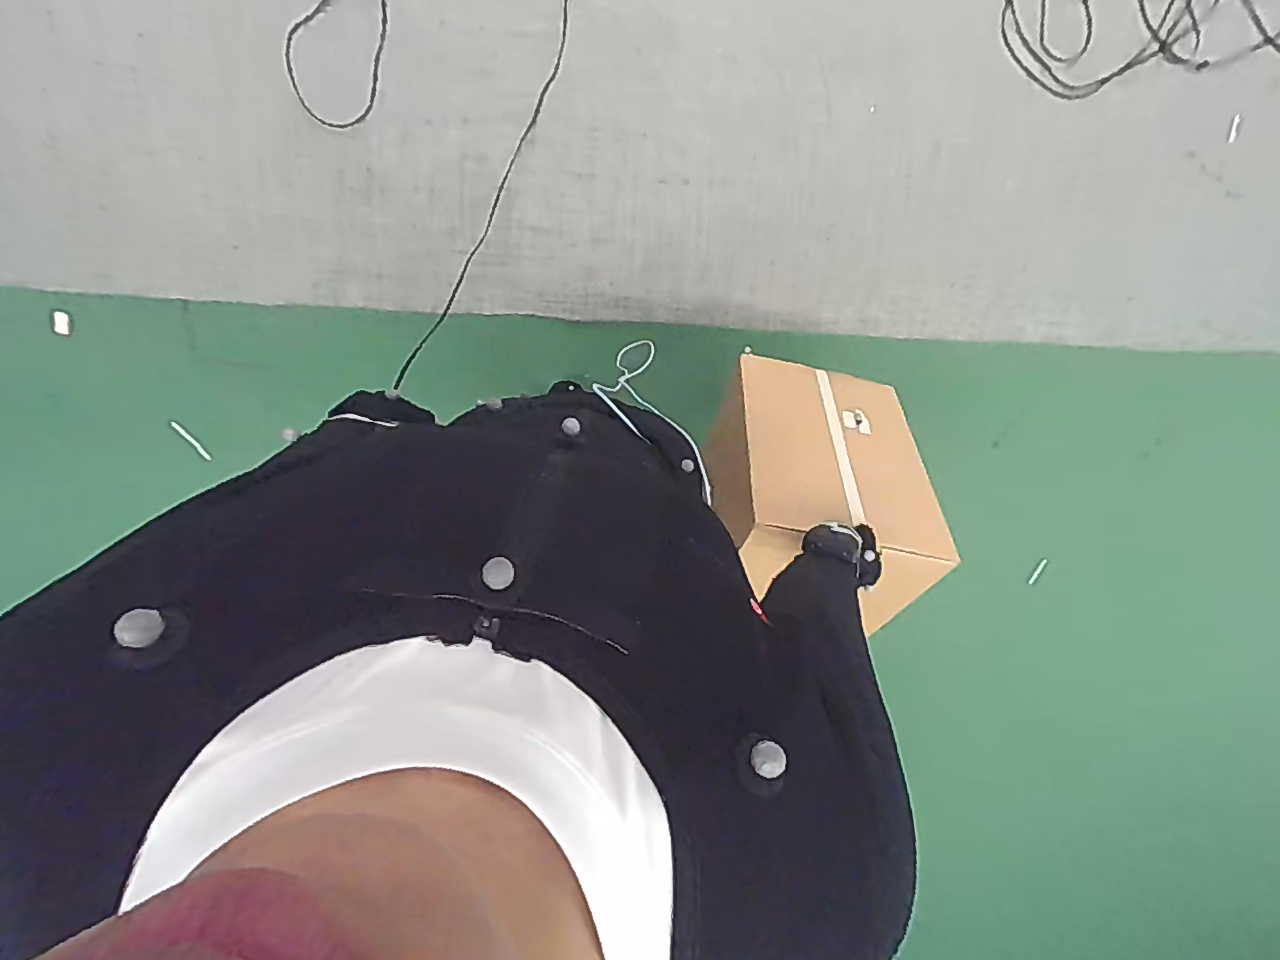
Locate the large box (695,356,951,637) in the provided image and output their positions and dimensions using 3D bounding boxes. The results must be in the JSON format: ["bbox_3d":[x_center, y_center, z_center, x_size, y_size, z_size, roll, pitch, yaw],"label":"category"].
[{"bbox_3d":[0.293,0.034,1.020,0.320,0.408,0.320,11,138,-7],"label":"large box"}]
